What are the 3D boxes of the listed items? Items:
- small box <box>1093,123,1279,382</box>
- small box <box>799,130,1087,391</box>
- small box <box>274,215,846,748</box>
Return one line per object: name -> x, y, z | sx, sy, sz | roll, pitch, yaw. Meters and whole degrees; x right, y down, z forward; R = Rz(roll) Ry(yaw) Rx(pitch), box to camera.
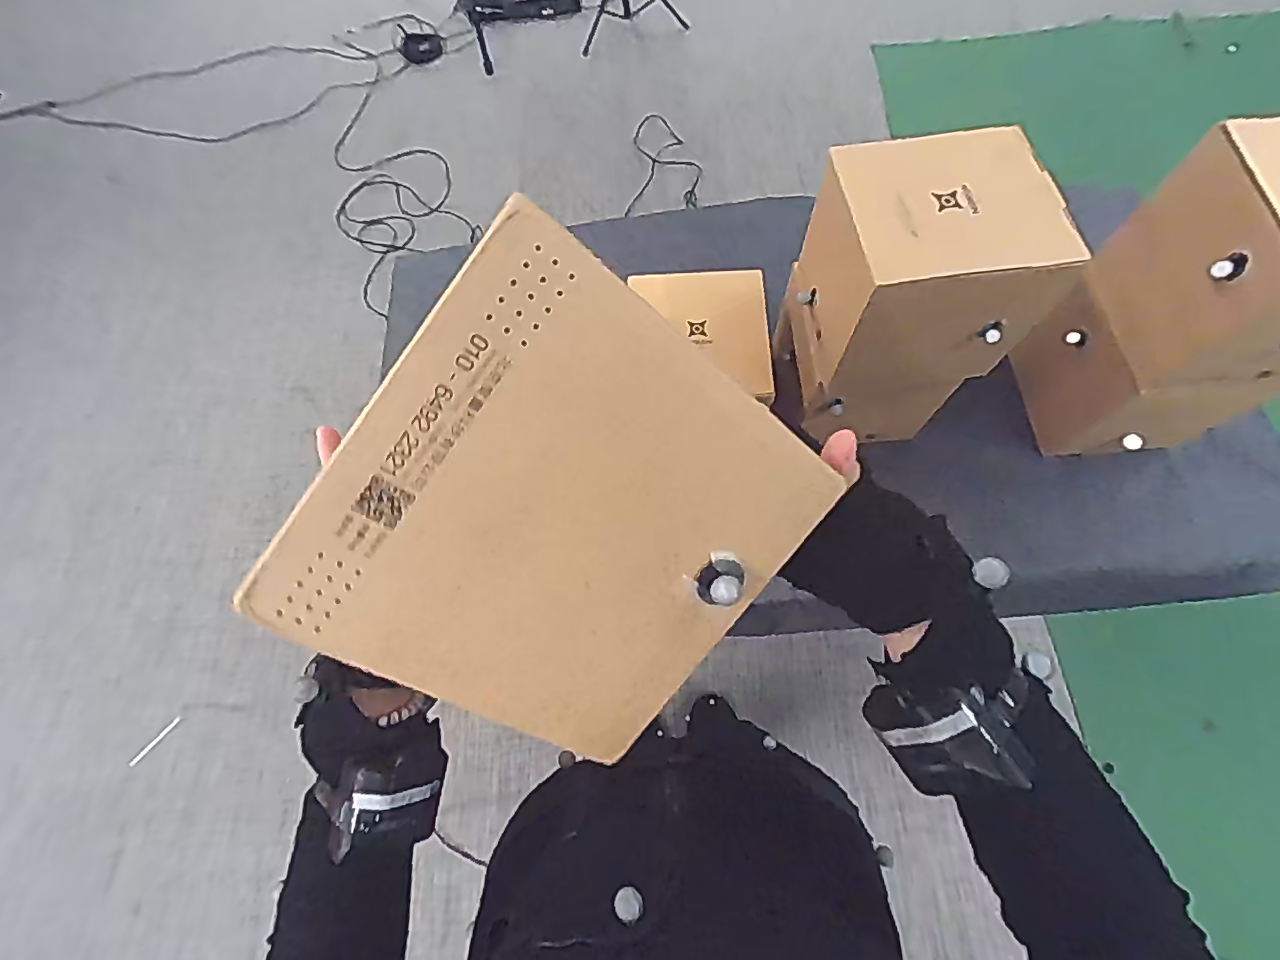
small box -> 0.595, -0.205, 0.517 | 0.168, 0.176, 0.179 | -2, 68, 3
small box -> 0.275, -0.207, 0.542 | 0.179, 0.176, 0.168 | -6, 67, 2
small box -> -0.043, -0.009, 0.280 | 0.176, 0.179, 0.168 | 33, 98, -25
